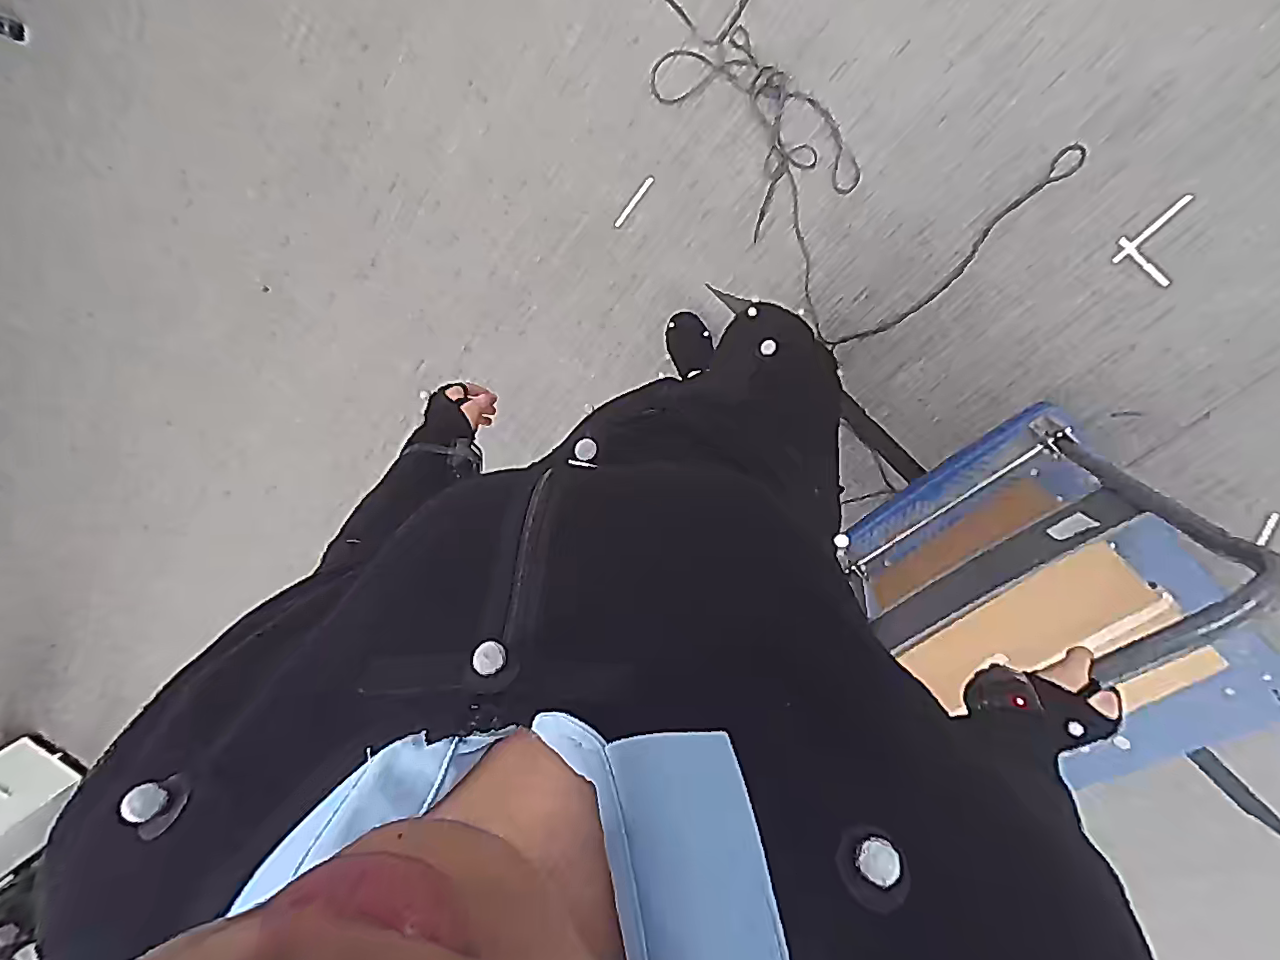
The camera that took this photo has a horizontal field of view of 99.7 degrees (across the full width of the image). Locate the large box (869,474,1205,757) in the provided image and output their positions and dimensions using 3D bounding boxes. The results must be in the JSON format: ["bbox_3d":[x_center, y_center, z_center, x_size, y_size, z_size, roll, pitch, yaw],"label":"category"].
[{"bbox_3d":[0.746,0.262,1.104,0.320,0.320,0.408,43,116,-2],"label":"large box"}]
